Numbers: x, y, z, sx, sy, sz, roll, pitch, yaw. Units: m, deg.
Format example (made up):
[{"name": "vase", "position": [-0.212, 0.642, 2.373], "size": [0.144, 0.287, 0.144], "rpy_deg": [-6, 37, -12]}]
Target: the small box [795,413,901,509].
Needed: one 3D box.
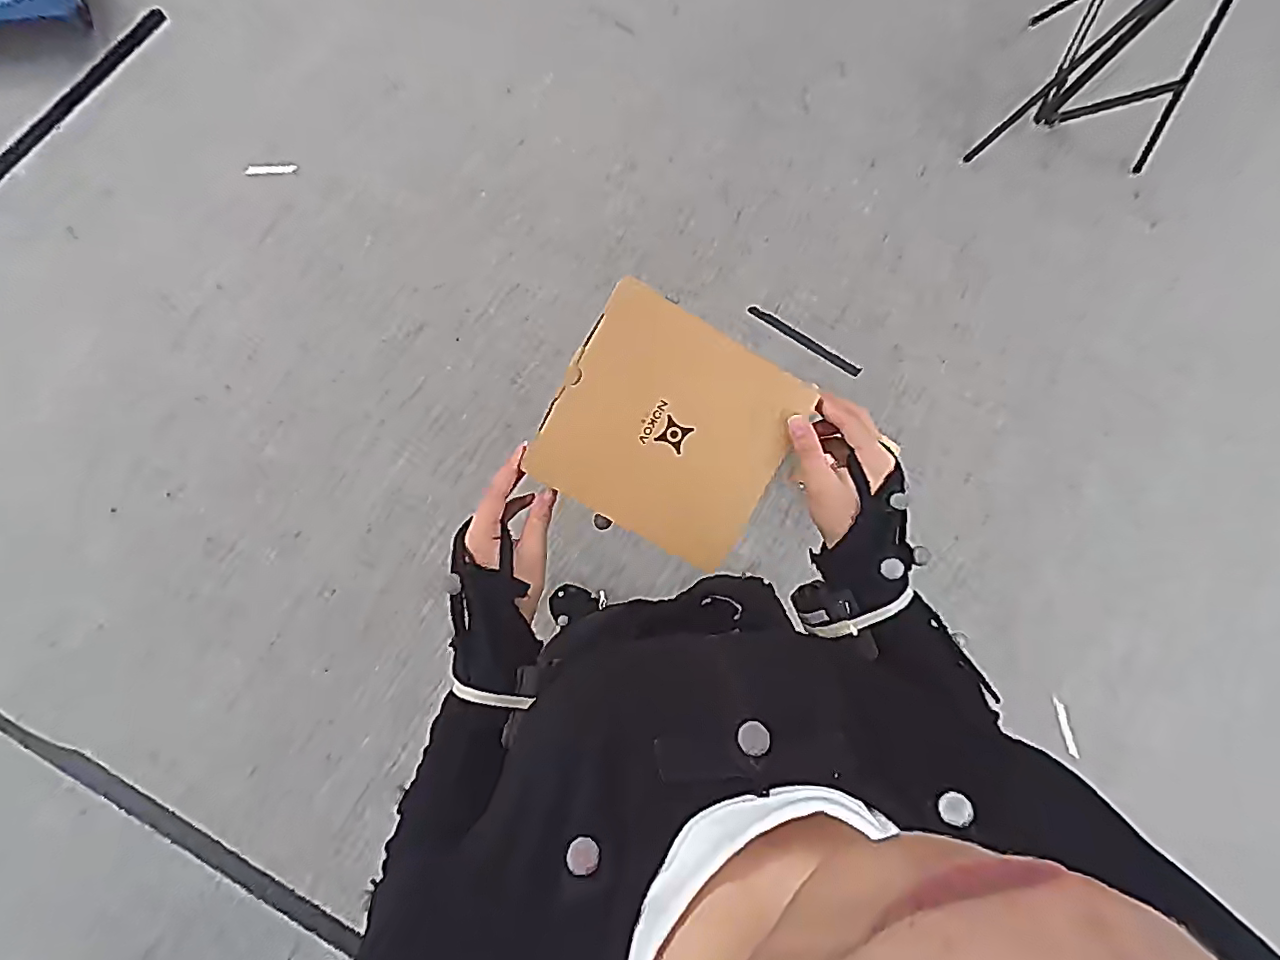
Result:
[{"name": "small box", "position": [0.527, -0.040, 1.401], "size": [0.168, 0.176, 0.179], "rpy_deg": [33, 79, -1]}]
